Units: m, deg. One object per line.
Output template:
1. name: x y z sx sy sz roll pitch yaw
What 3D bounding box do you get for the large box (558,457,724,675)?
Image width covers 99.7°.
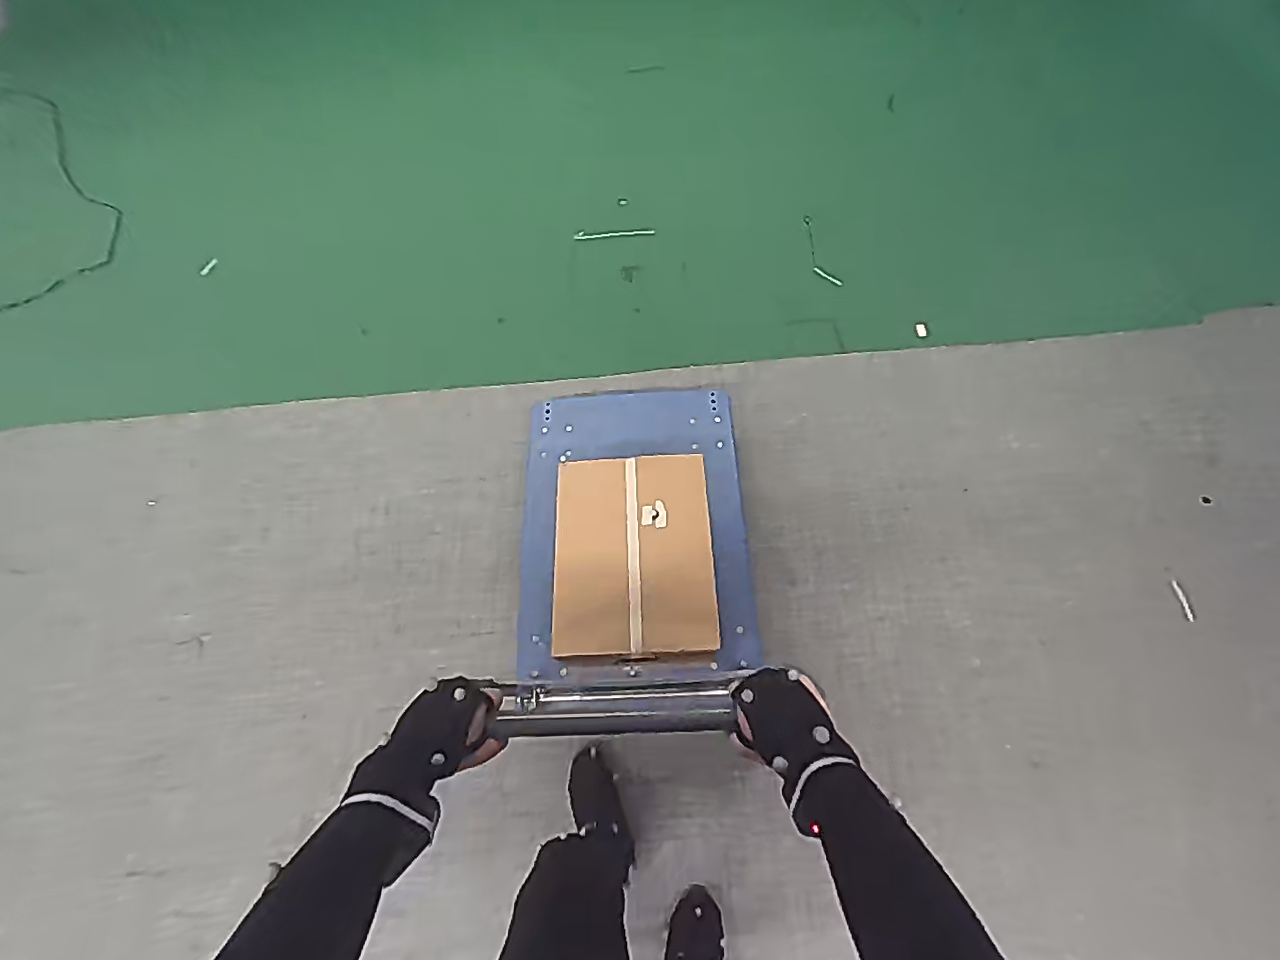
1. large box: 0.004 0.204 1.209 0.320 0.320 0.408 -3 64 2
